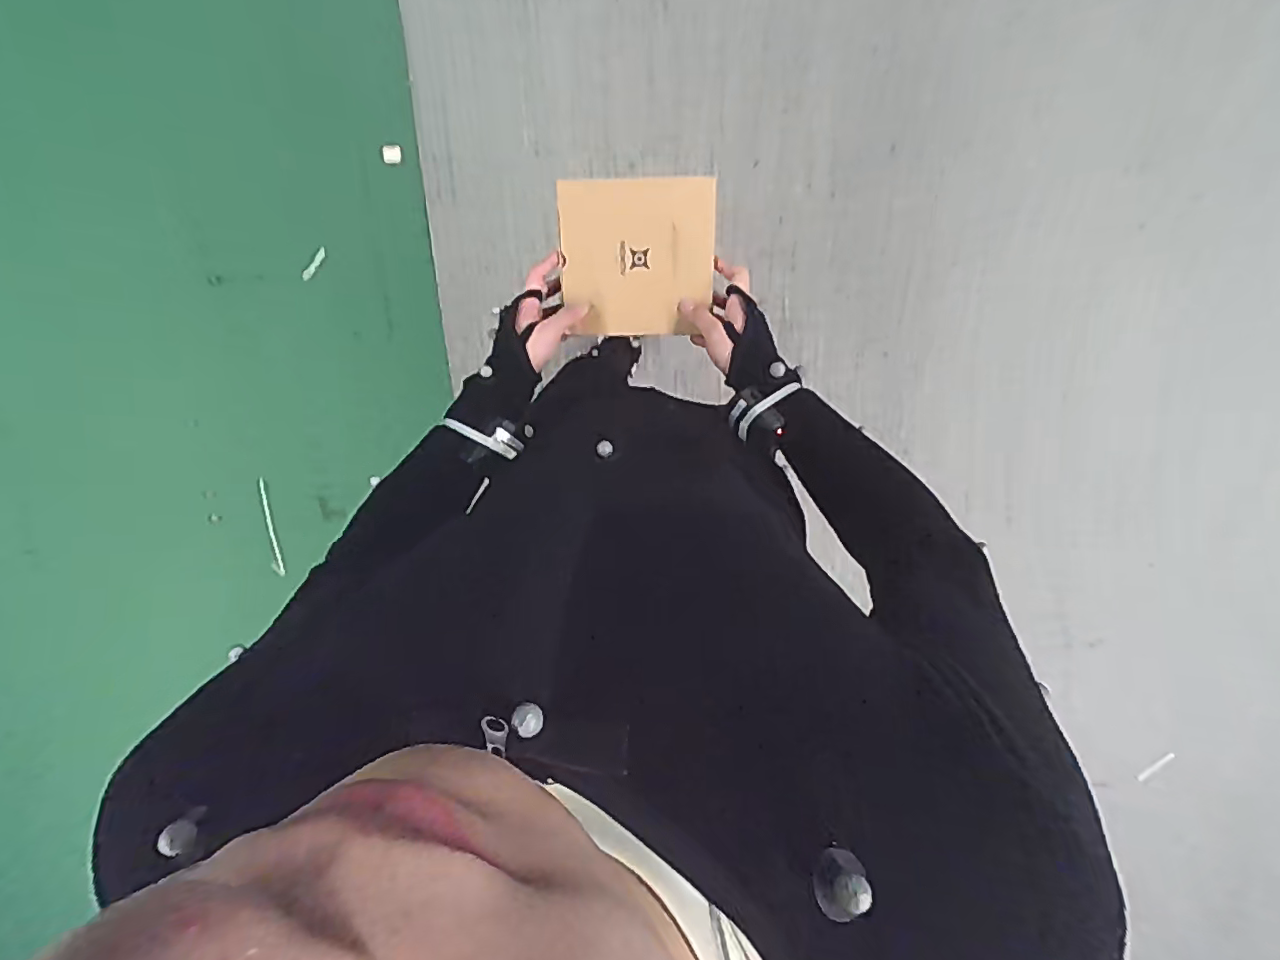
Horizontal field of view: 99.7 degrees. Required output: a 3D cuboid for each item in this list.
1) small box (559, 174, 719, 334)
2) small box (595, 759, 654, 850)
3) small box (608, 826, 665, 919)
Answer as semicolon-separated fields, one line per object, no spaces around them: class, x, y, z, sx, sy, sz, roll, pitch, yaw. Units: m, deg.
small box;0.002;-0.271;0.681;0.179;0.176;0.168;1;105;3
small box;-0.043;0.962;1.614;0.168;0.176;0.179;-2;104;2
small box;-0.007;1.216;1.681;0.168;0.176;0.179;-2;103;2
